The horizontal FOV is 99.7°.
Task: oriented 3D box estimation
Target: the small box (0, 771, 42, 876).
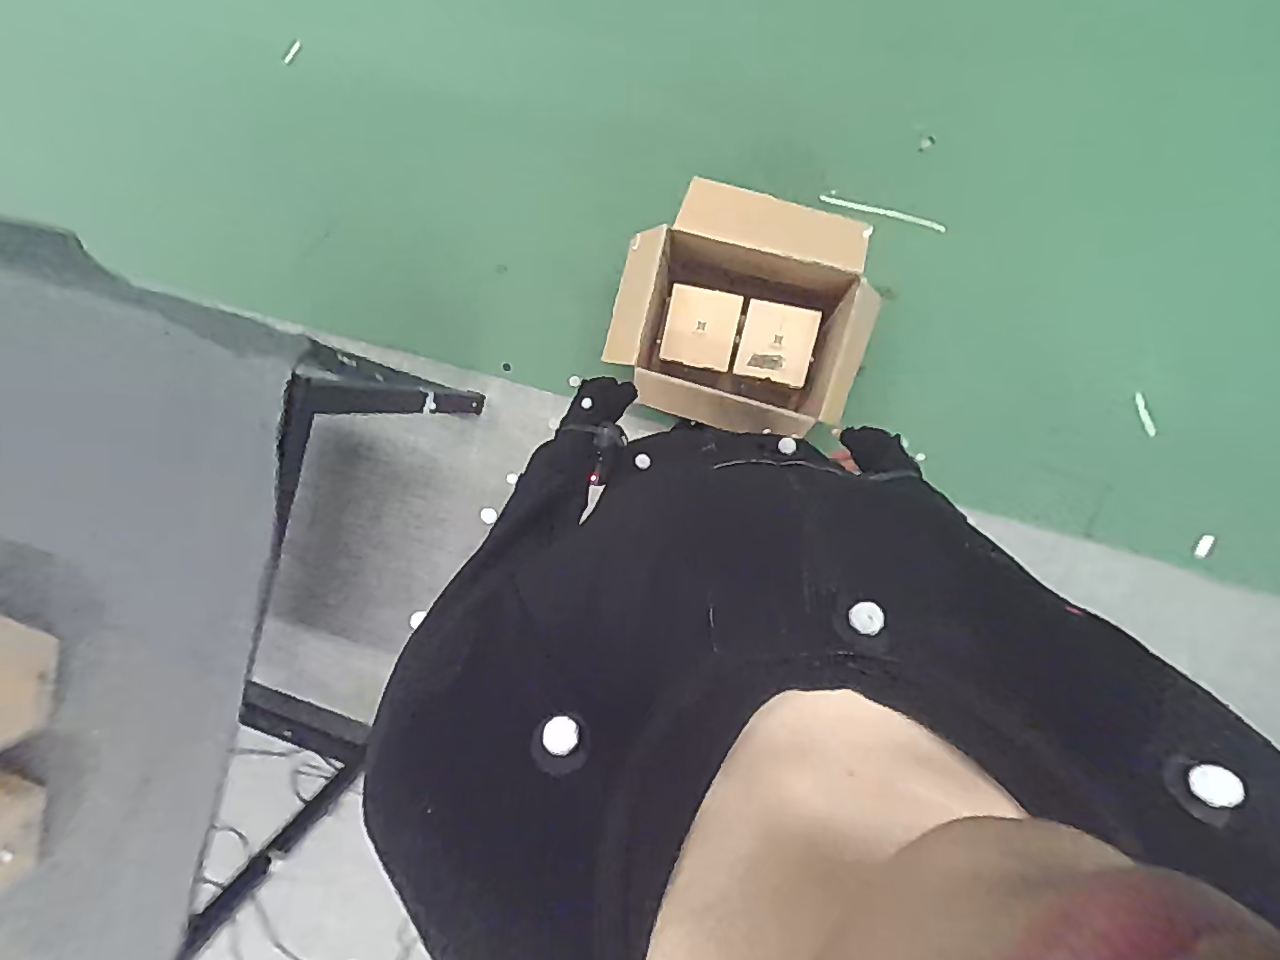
[{"bbox_3d":[-1.127,0.574,0.852,0.179,0.176,0.168,19,98,3],"label":"small box"}]
